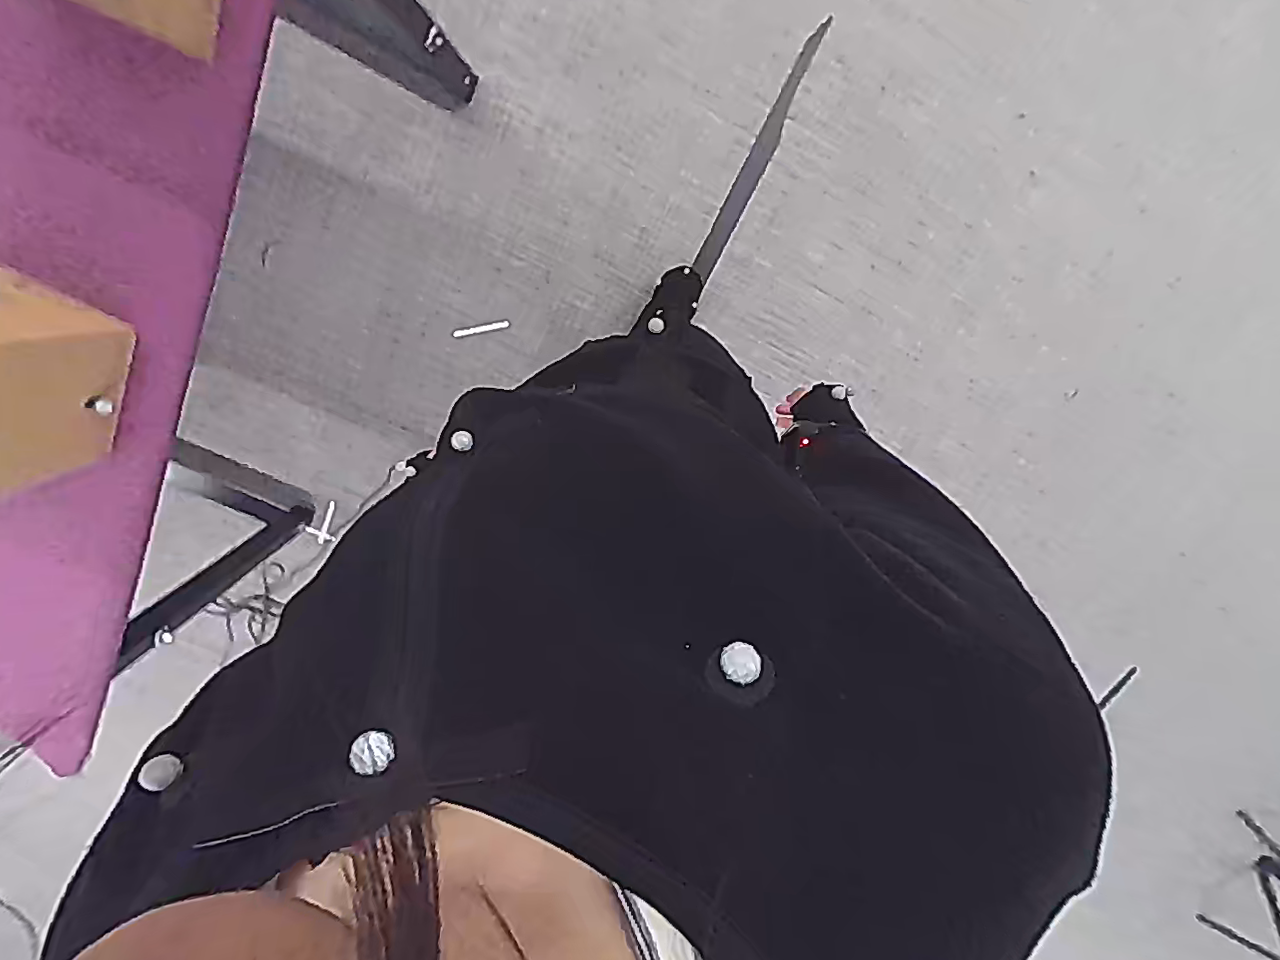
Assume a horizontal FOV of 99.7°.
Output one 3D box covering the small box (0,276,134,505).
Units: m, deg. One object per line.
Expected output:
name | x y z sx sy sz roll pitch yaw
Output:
small box | -0.669 -0.097 0.542 0.168 0.176 0.179 26 107 -11
